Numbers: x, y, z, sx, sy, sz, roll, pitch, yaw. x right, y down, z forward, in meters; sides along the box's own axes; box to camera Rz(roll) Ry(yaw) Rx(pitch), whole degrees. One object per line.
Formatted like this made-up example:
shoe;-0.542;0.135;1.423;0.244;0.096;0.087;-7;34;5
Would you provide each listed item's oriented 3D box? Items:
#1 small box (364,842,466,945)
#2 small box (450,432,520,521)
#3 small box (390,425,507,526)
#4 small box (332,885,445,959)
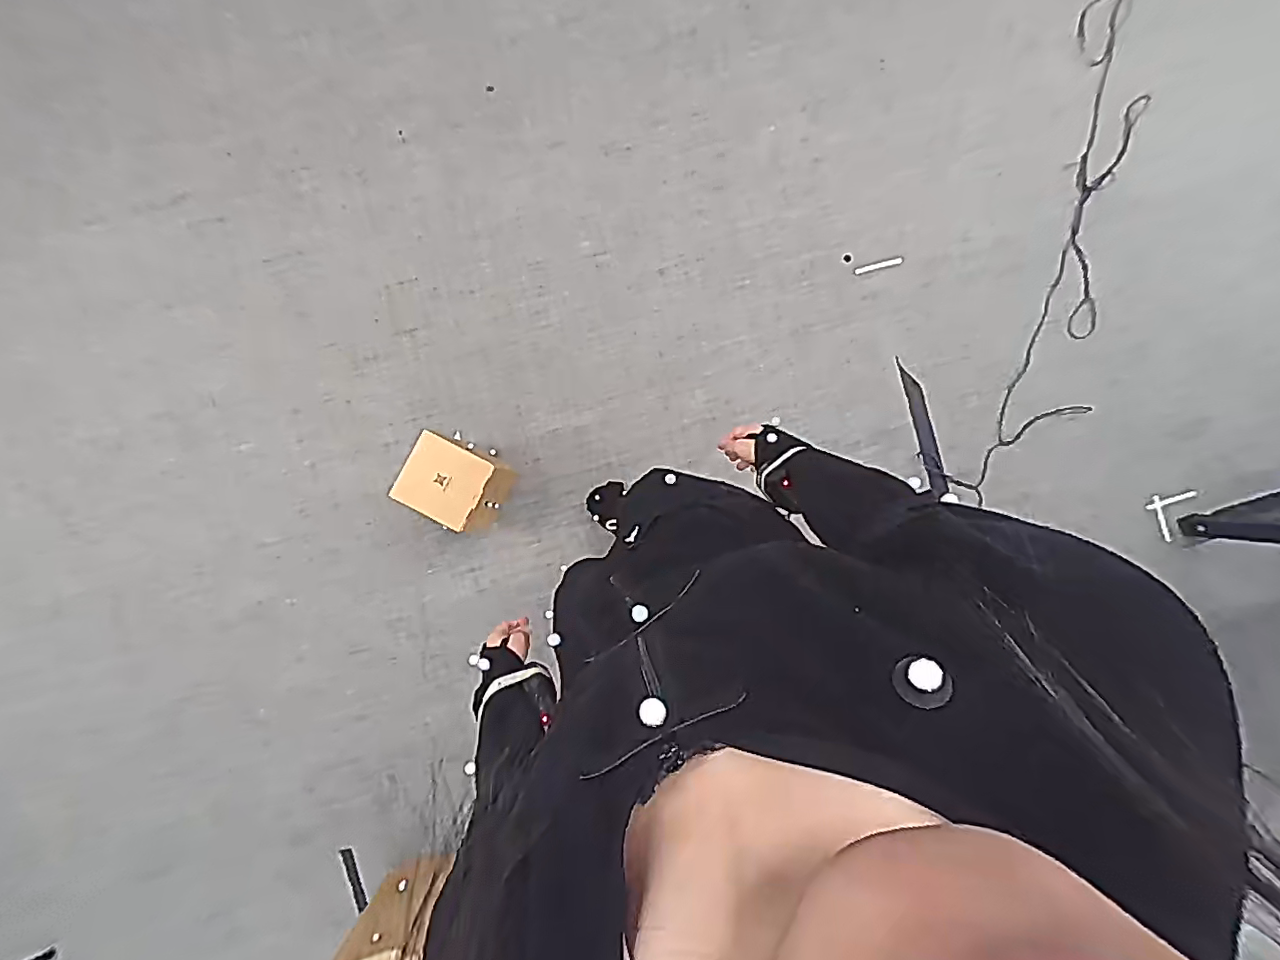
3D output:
small box;-0.571;1.090;1.405;0.179;0.176;0.168;-20;90;-1
small box;-0.437;-0.005;1.412;0.179;0.176;0.168;28;88;-1
small box;-0.431;-0.008;1.249;0.179;0.176;0.168;28;88;-3
small box;-0.567;1.084;1.241;0.179;0.176;0.168;-19;90;-1
